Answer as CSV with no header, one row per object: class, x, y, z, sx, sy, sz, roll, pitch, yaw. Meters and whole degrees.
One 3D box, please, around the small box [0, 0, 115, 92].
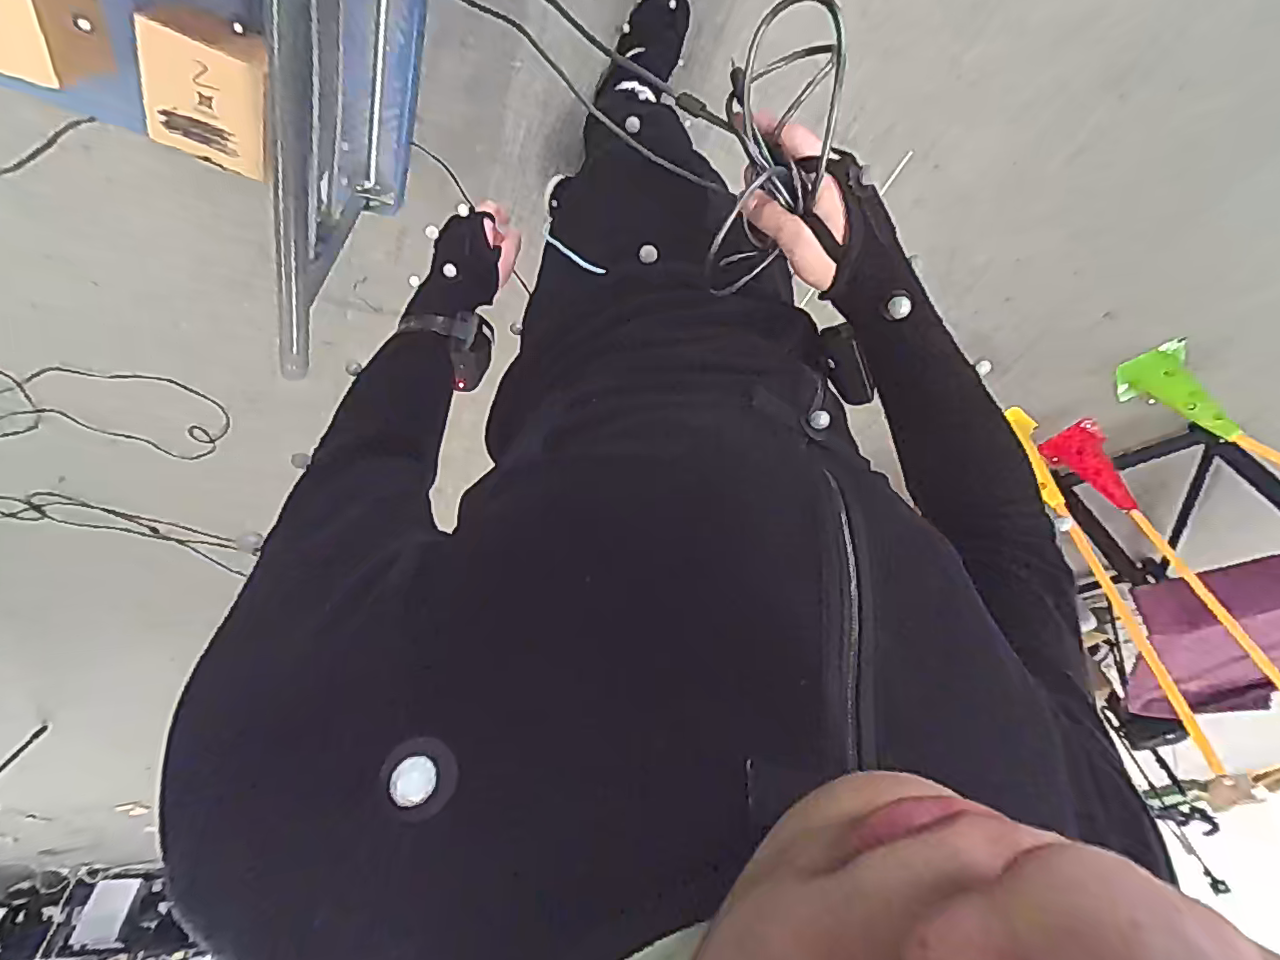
small box,-0.948,-0.727,0.813,0.179,0.176,0.168,10,134,-18
